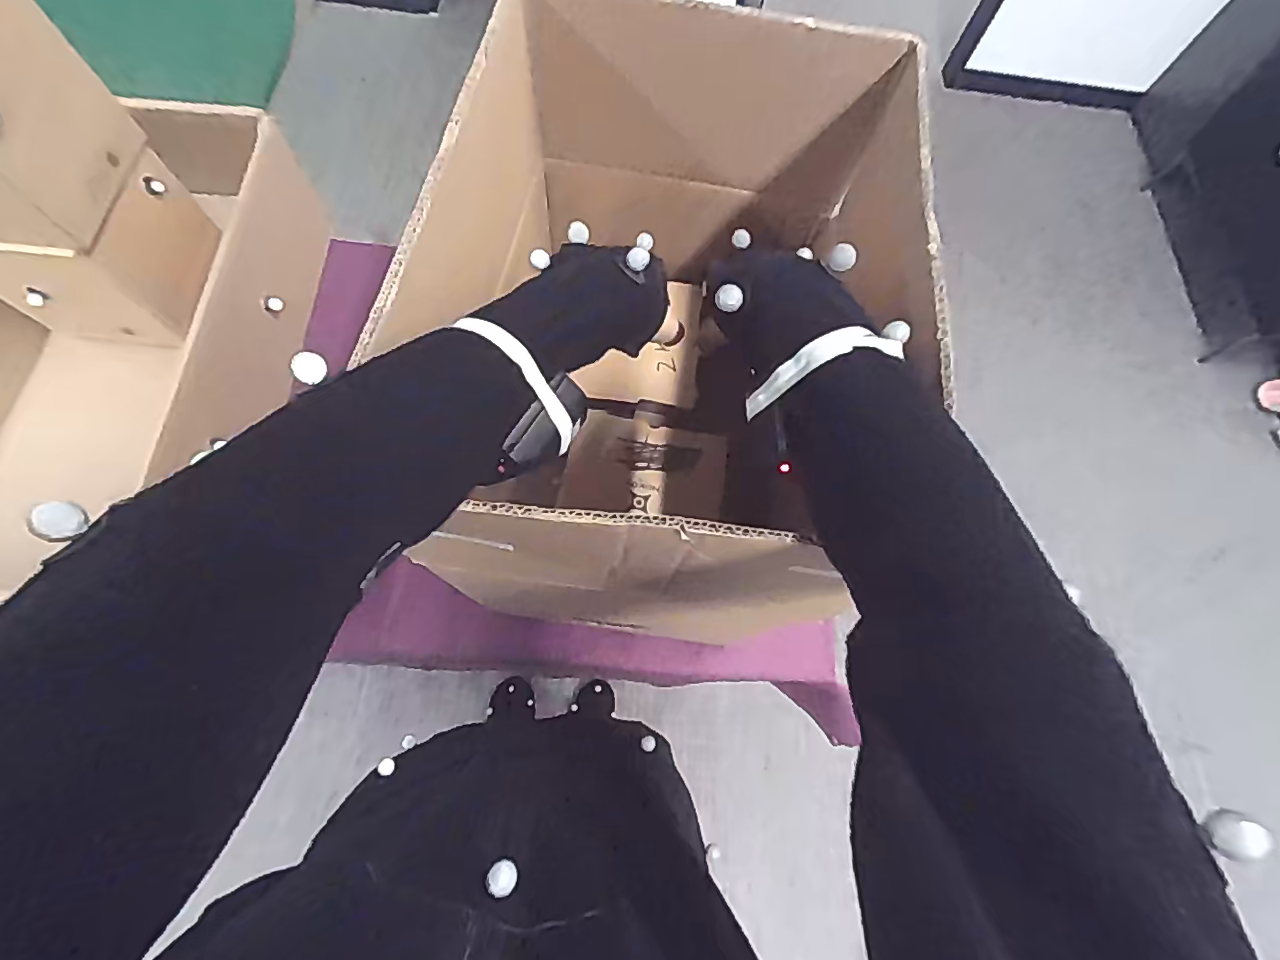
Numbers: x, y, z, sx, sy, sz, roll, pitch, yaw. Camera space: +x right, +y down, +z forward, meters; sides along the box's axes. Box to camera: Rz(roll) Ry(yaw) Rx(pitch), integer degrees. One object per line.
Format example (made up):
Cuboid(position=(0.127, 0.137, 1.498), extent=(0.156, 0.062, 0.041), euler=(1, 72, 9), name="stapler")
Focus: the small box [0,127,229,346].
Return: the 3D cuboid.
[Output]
Cuboid(position=(-0.653, -0.284, 0.658), extent=(0.168, 0.176, 0.179), euler=(5, 69, -2), name="small box")
